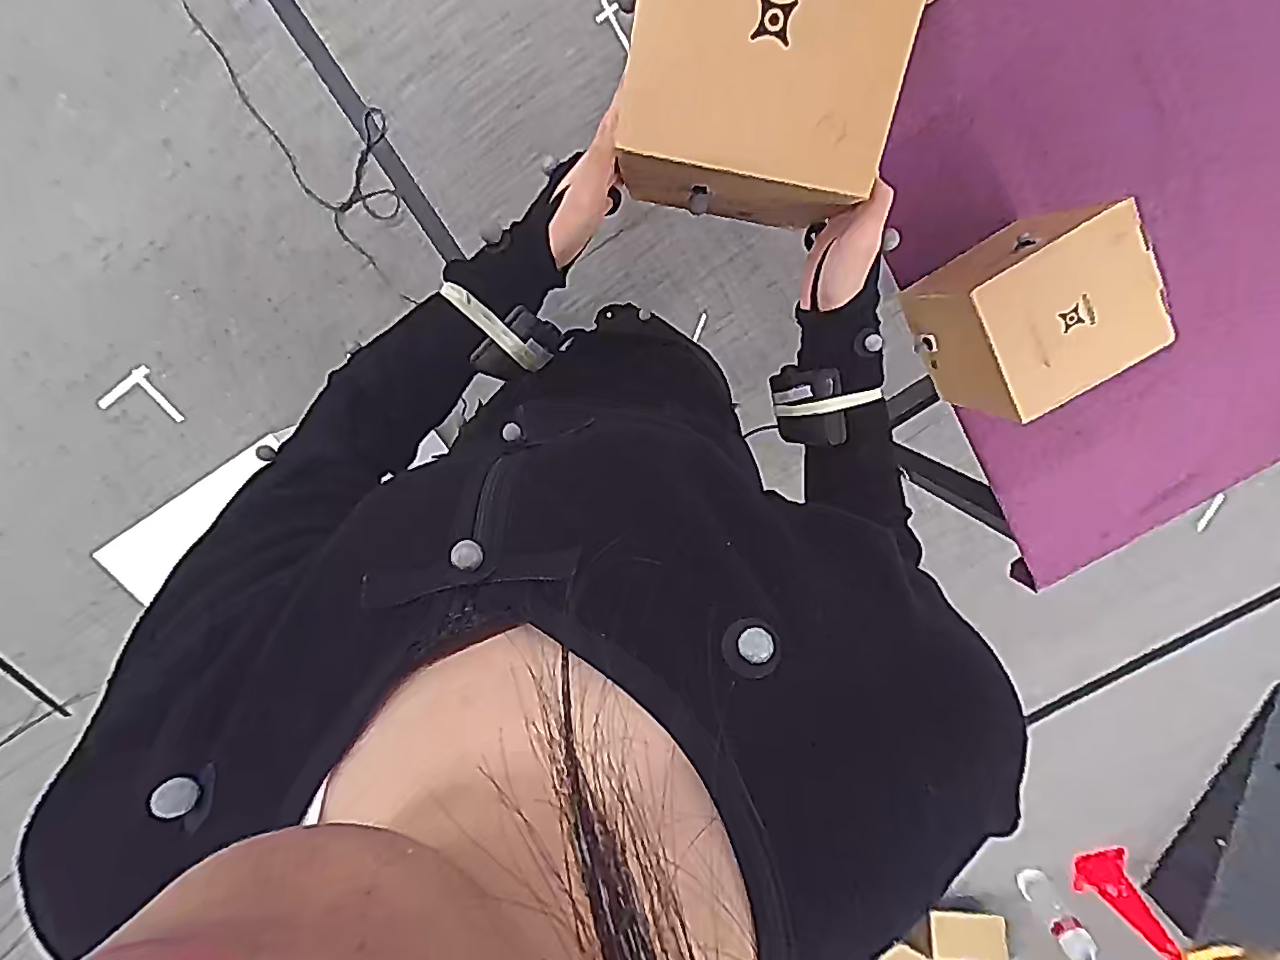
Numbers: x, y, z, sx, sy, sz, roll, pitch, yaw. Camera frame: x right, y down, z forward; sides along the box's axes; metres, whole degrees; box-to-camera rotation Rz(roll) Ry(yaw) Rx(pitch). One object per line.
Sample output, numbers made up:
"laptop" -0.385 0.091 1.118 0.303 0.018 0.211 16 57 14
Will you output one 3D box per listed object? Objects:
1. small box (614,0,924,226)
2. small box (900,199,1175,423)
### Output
"small box" 0.082 -0.295 0.385 0.168 0.176 0.179 10 107 0
"small box" 0.450 -0.194 0.638 0.179 0.176 0.168 -31 105 8
